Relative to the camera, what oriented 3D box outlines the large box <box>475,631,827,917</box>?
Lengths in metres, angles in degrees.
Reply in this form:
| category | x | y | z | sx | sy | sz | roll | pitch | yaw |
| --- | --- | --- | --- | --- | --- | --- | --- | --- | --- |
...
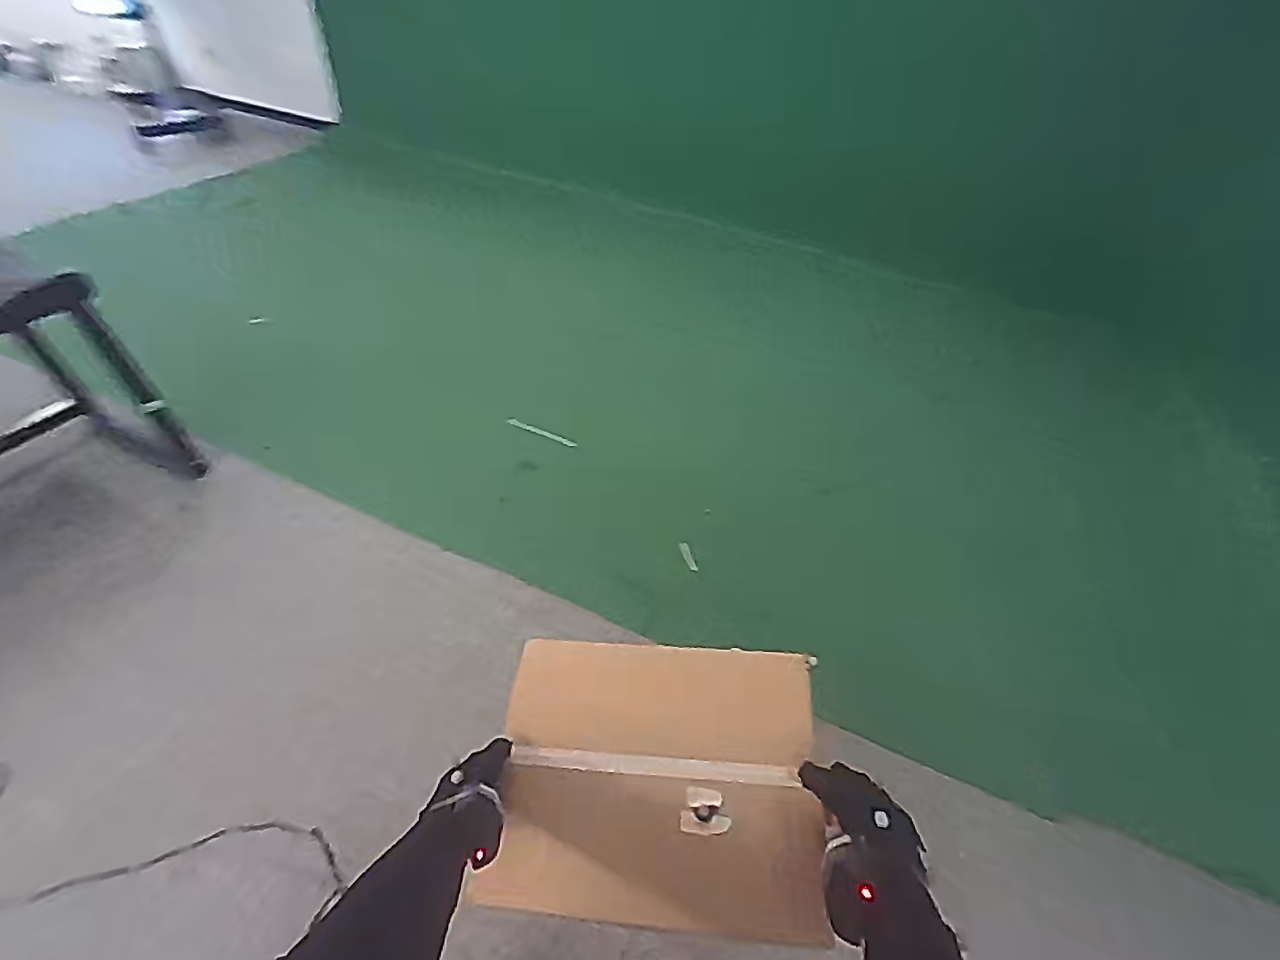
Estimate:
| category | x | y | z | sx | sy | sz | roll | pitch | yaw |
| --- | --- | --- | --- | --- | --- | --- | --- | --- | --- |
| large box | 0.025 | 0.438 | 0.806 | 0.408 | 0.320 | 0.320 | 1 | 53 | 6 |
